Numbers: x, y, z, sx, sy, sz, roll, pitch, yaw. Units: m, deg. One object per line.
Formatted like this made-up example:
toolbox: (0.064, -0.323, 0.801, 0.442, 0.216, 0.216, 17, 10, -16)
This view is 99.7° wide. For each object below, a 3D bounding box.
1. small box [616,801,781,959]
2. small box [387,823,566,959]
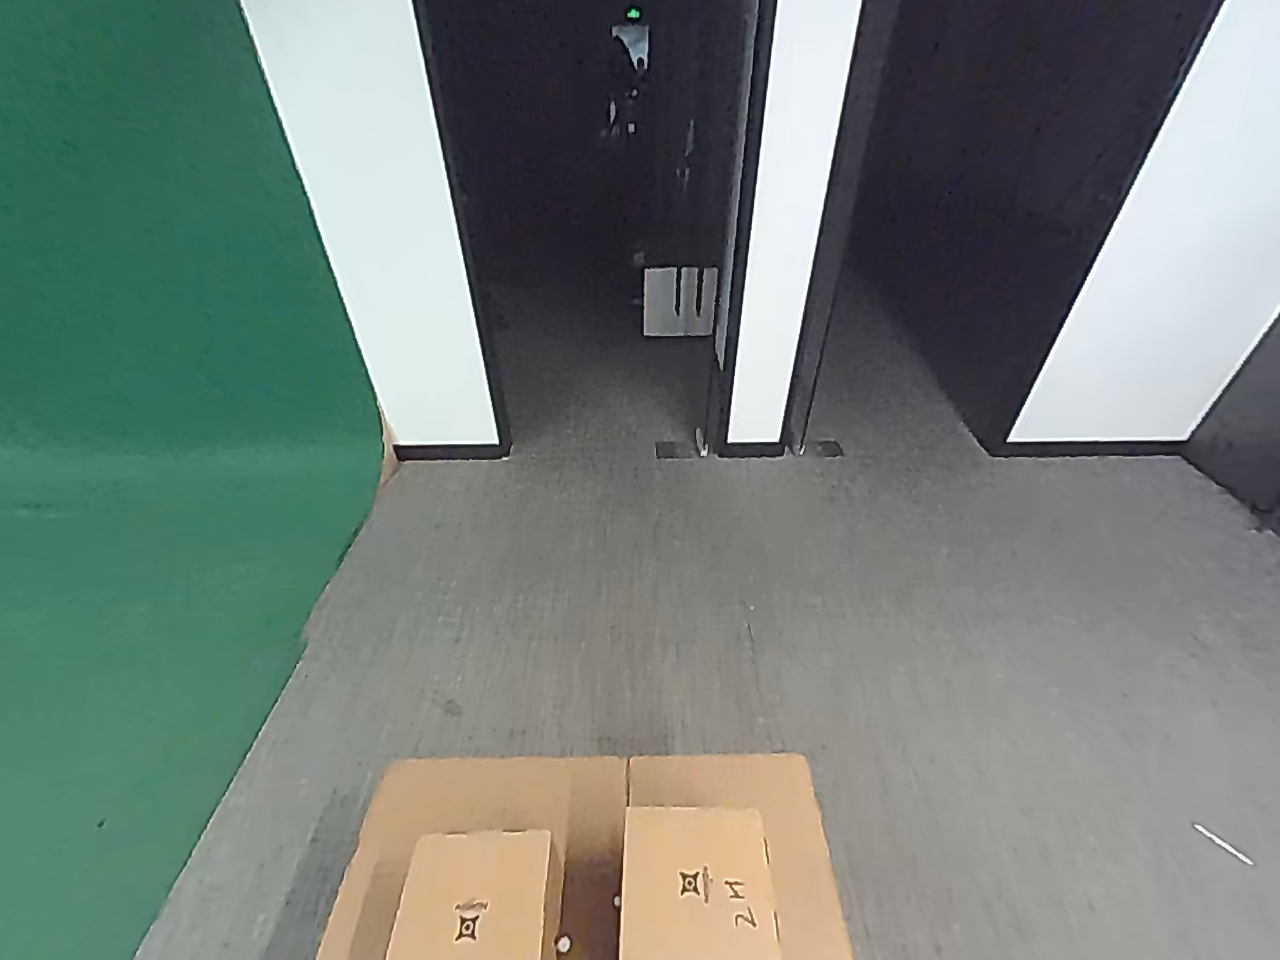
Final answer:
small box: (0.068, 0.524, 0.672, 0.179, 0.176, 0.168, 0, 38, 3)
small box: (-0.183, 0.544, 0.648, 0.168, 0.176, 0.179, -3, 37, 0)
